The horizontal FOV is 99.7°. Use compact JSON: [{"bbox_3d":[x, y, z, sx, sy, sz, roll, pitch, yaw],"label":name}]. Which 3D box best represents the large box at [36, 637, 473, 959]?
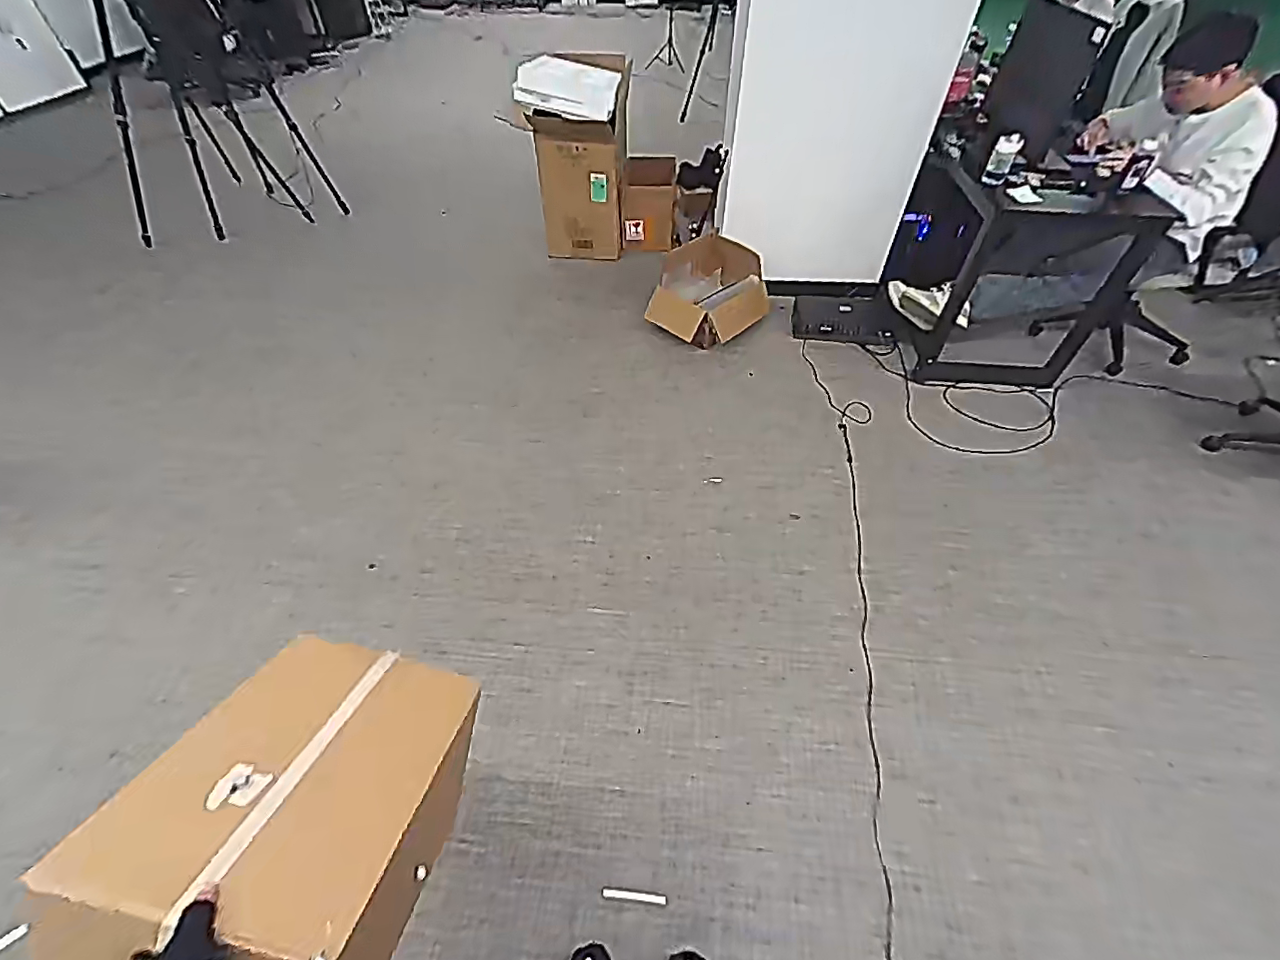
[{"bbox_3d":[-0.475,0.503,0.771,0.320,0.320,0.408,15,21,0],"label":"large box"}]
